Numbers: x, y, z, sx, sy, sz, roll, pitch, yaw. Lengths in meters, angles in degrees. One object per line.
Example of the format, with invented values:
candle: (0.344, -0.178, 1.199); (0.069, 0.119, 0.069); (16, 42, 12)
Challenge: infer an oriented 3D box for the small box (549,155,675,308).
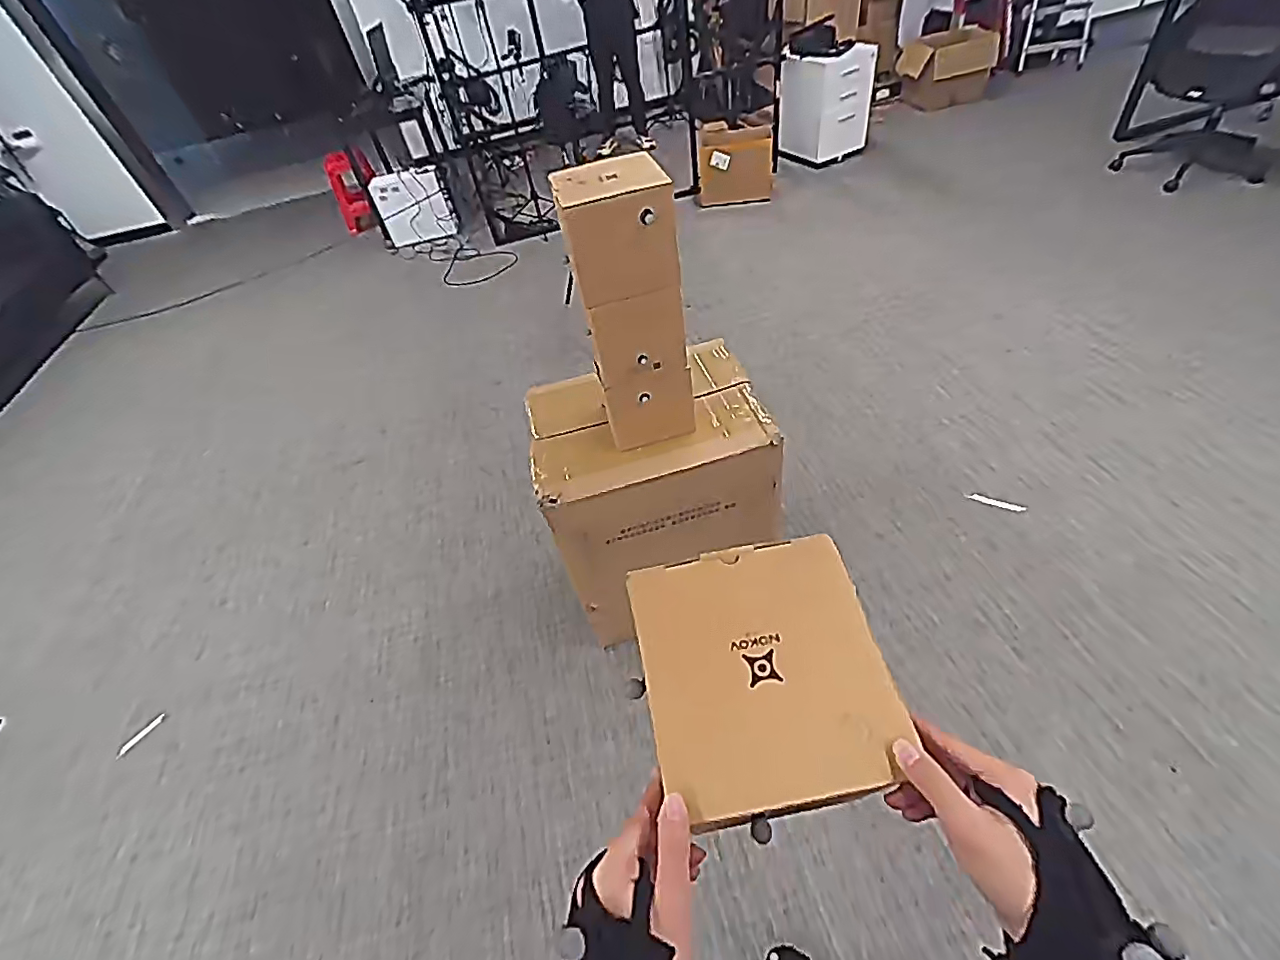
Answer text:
small box: (-0.043, -0.419, 0.919); (0.179, 0.176, 0.168); (-16, 46, -3)

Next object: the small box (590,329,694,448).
small box: (0.006, -0.190, 1.151); (0.179, 0.176, 0.168); (-15, 46, -4)

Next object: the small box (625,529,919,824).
small box: (0.090, 0.168, 0.444); (0.168, 0.176, 0.179); (-11, 54, -1)
